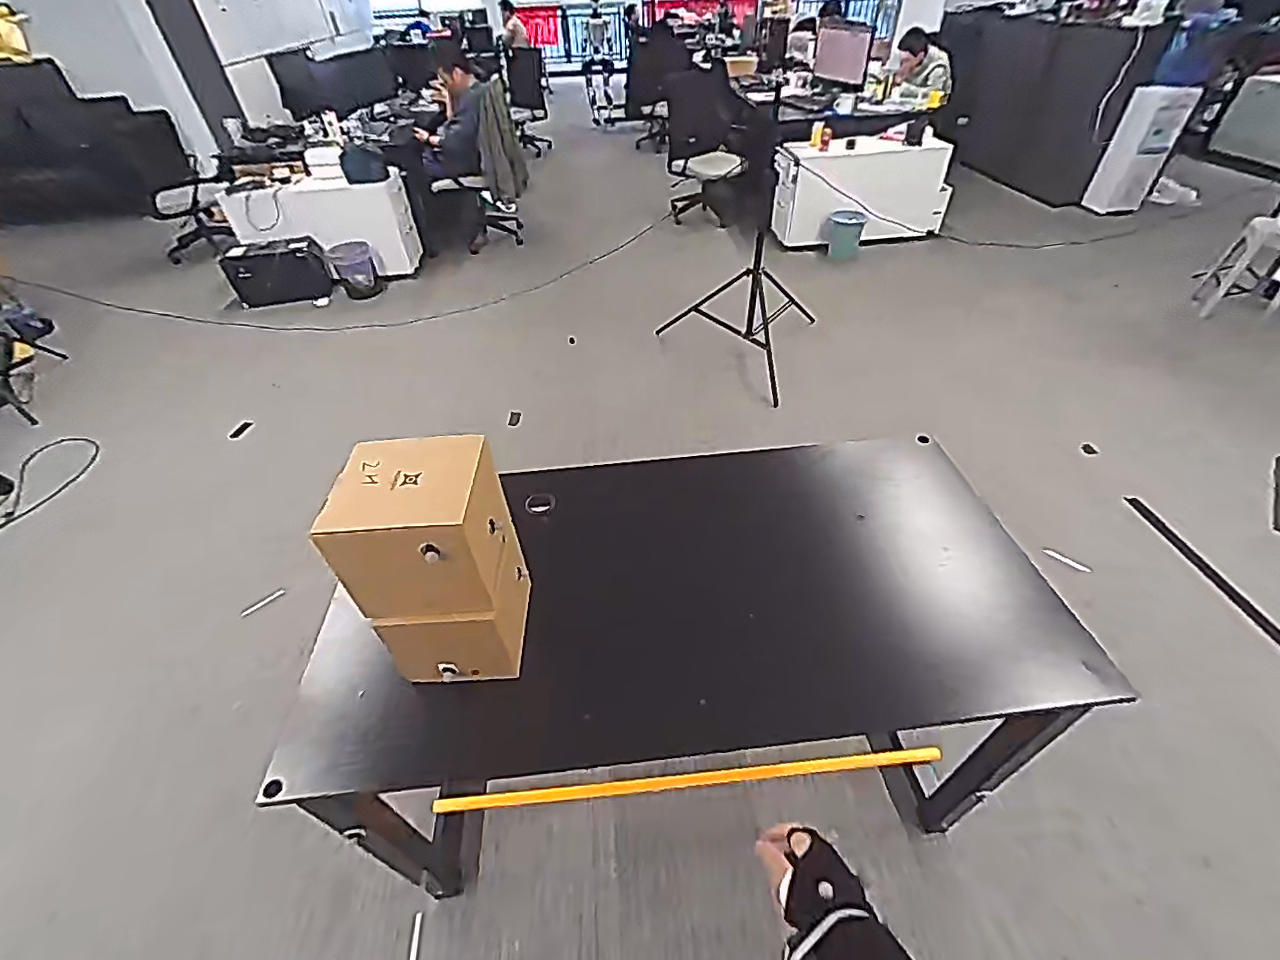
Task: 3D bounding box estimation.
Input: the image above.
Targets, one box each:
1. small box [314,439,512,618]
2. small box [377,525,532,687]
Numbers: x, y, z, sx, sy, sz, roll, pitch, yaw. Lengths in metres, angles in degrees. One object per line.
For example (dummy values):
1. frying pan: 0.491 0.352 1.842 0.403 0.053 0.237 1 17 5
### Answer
1. small box: -0.277 0.065 0.714 0.179 0.176 0.168 -4 42 0
2. small box: -0.264 0.190 0.822 0.168 0.176 0.179 -4 44 0
